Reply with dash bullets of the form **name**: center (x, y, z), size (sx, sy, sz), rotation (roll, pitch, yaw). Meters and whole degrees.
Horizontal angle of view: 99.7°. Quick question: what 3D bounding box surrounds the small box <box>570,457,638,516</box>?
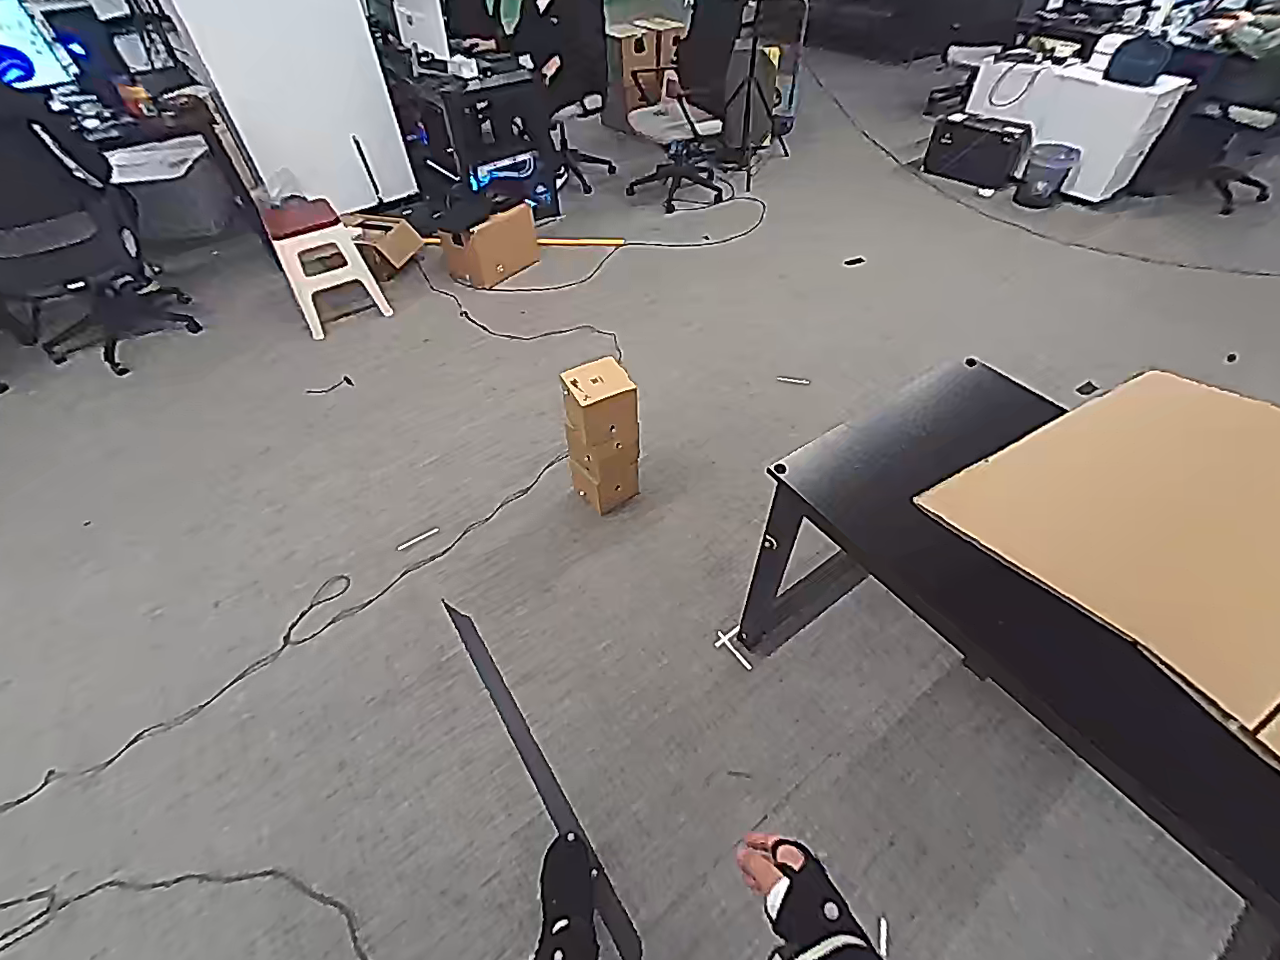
- **small box**: center (-0.123, -0.010, 1.873), size (0.179, 0.176, 0.168), rotation (-33, 55, -23)

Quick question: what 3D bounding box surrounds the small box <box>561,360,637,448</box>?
- **small box**: center (-0.123, -0.227, 1.629), size (0.179, 0.176, 0.168), rotation (-22, 52, -18)

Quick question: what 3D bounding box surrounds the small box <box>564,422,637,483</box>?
- **small box**: center (-0.122, -0.121, 1.754), size (0.179, 0.176, 0.168), rotation (-34, 57, -27)
